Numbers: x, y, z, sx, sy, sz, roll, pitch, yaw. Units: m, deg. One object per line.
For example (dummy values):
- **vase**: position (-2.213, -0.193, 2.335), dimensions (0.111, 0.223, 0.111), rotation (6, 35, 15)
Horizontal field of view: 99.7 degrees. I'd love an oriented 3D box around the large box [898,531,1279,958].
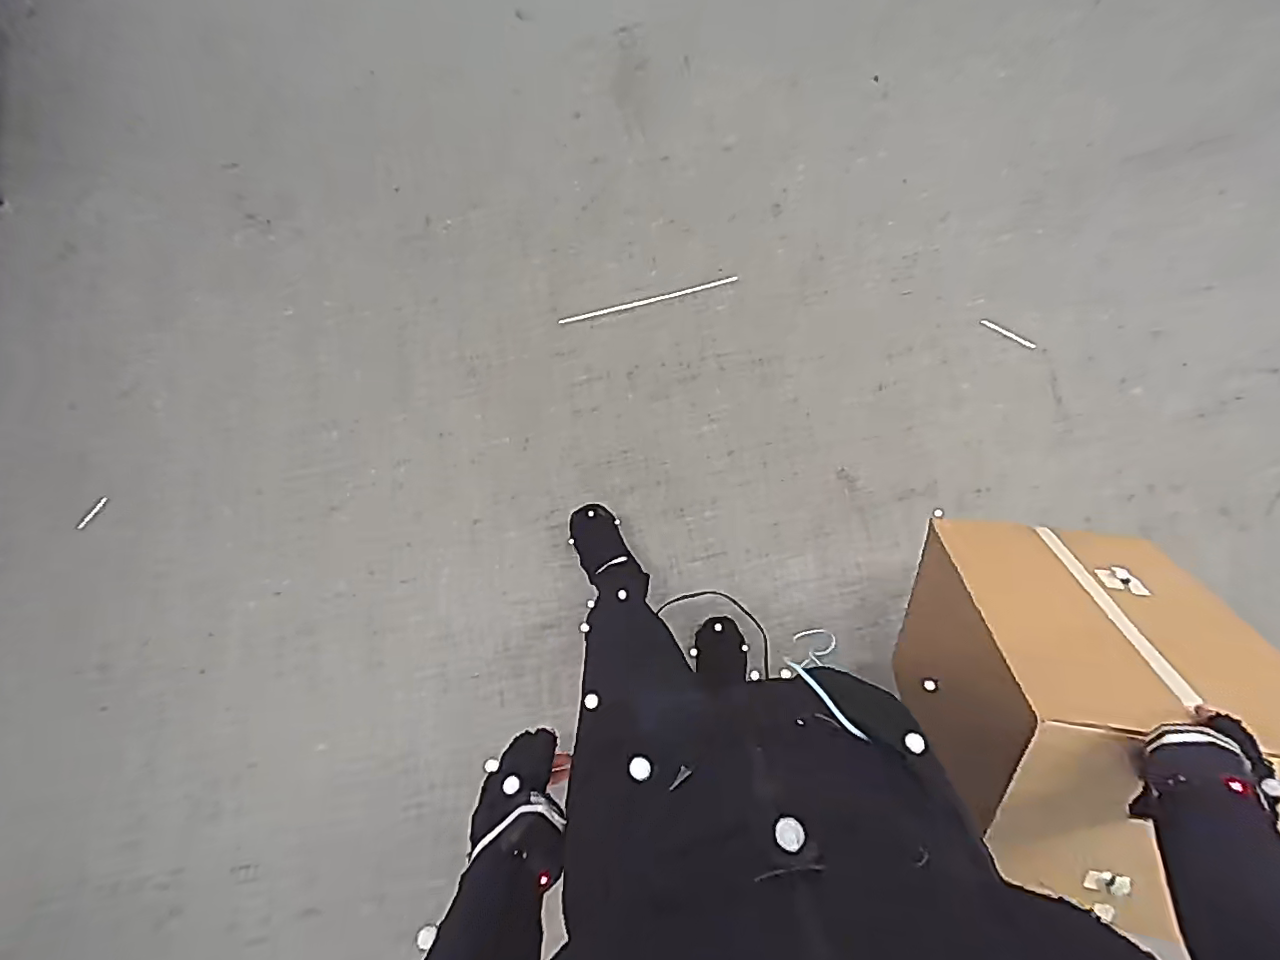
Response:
- **large box**: position (0.585, 0.313, 0.739), dimensions (0.320, 0.408, 0.320), rotation (6, 116, 10)
